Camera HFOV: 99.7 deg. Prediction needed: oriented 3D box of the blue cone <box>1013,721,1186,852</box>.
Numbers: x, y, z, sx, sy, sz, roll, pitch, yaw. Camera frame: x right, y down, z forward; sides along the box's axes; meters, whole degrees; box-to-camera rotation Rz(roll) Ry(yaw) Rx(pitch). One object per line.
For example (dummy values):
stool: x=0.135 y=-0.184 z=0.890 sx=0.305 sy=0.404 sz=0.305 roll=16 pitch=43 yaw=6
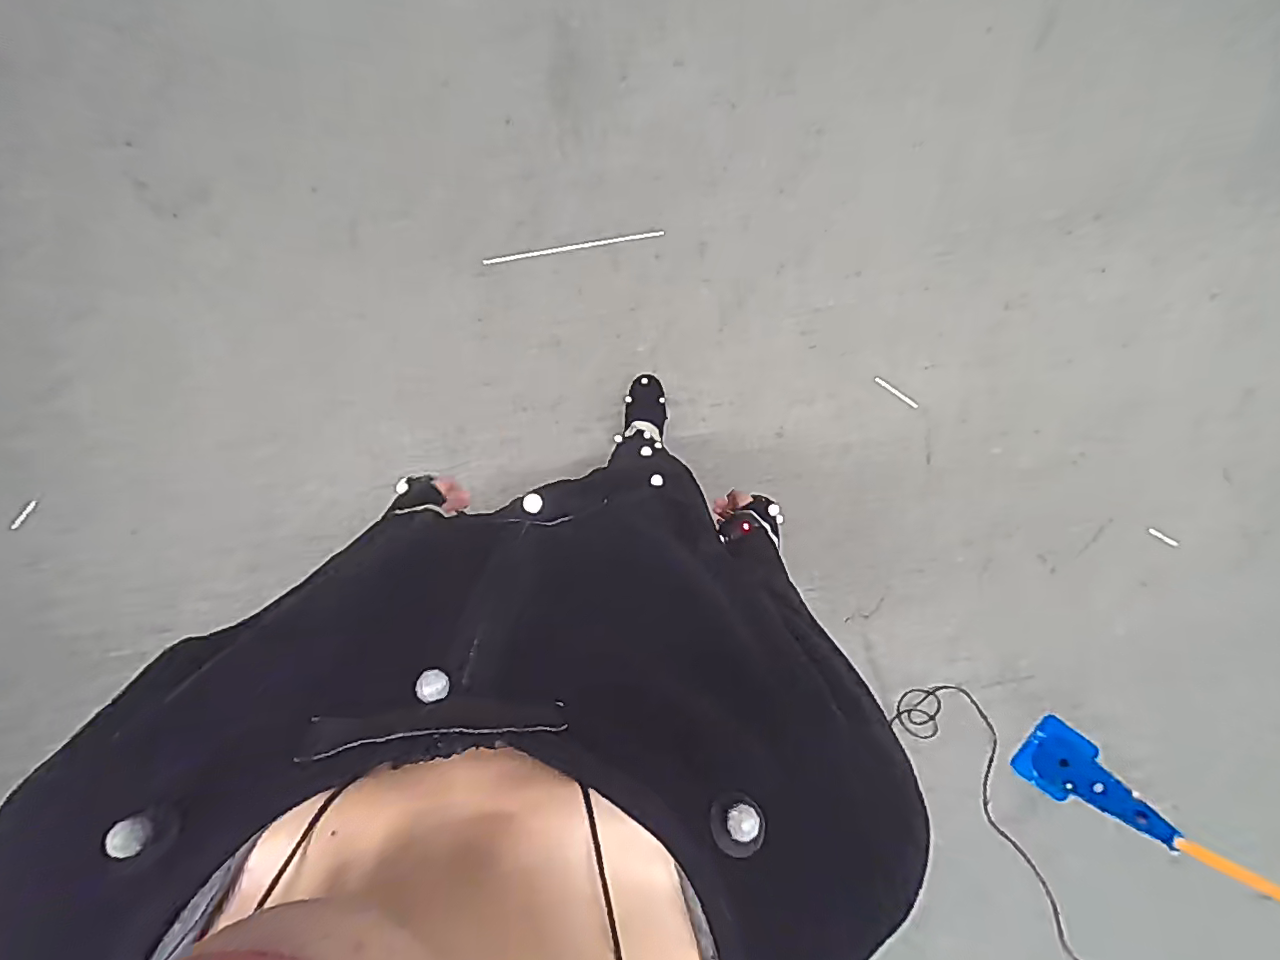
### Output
blue cone: x=1.196 y=0.814 z=1.401 sx=0.192 sy=0.380 sz=0.193 roll=35 pitch=89 yaw=-2
